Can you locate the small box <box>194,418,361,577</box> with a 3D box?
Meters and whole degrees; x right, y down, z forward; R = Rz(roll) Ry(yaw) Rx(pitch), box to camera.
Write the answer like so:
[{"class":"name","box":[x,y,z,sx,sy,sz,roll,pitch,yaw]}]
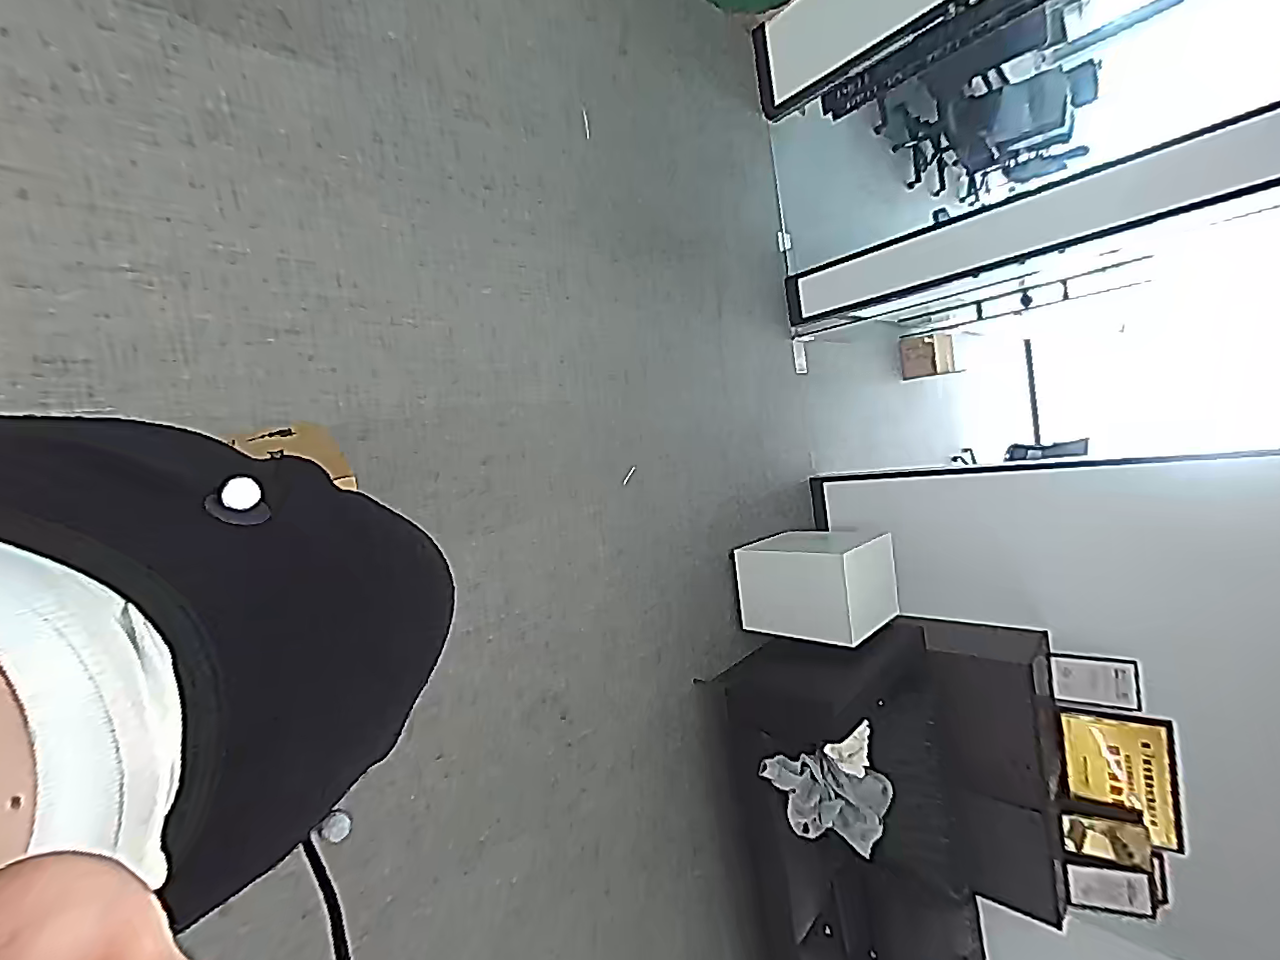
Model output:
[{"class":"small box","box":[-0.565,0.031,0.859,0.168,0.179,0.176,-22,139,-38]}]
